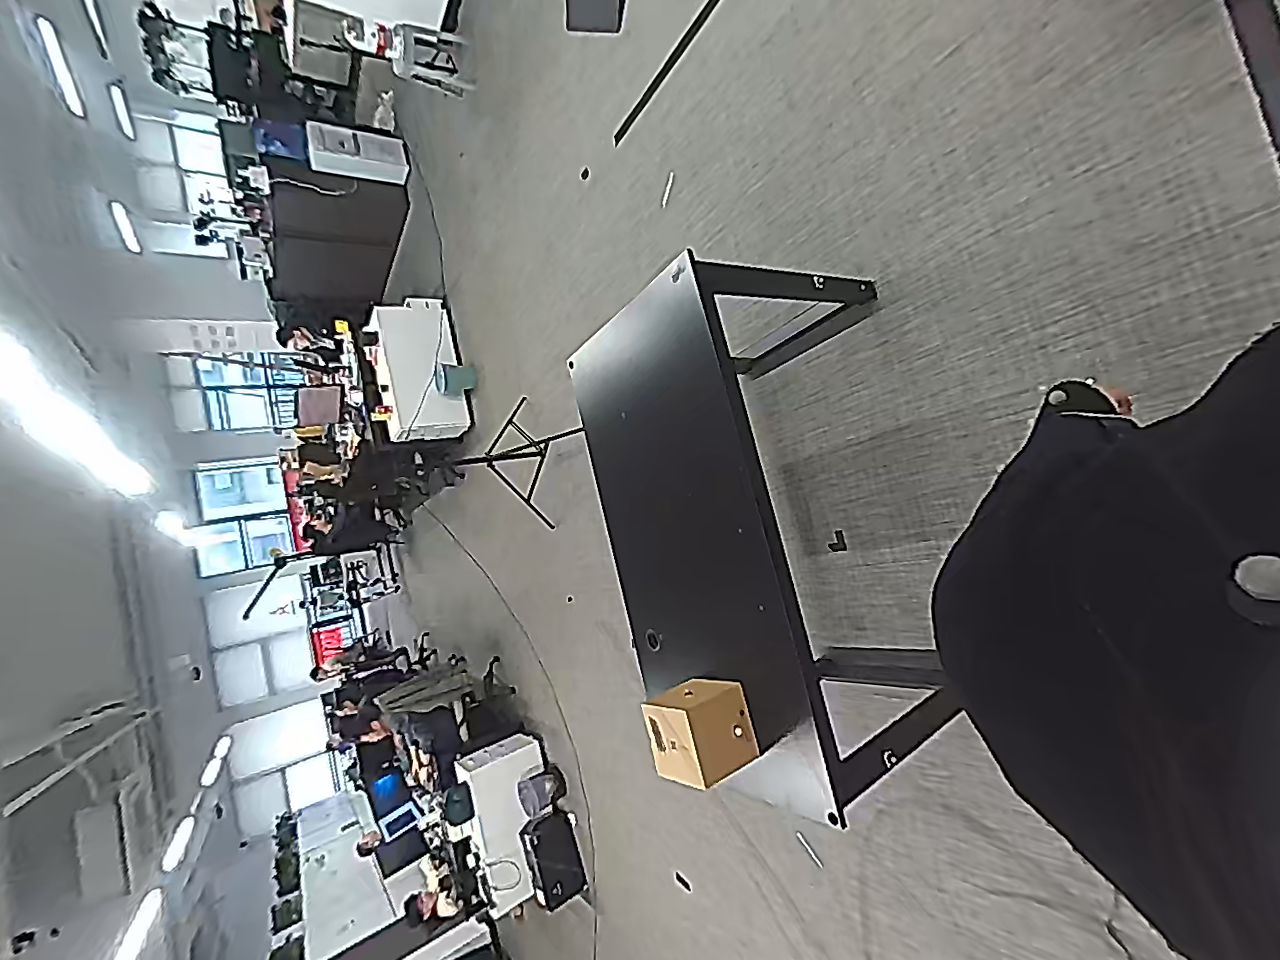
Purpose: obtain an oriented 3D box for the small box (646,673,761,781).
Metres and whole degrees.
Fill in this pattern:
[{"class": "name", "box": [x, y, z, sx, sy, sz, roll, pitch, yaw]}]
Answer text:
[{"class": "small box", "box": [0.143, 0.551, 1.234, 0.179, 0.176, 0.168, -25, 78, 54]}]
